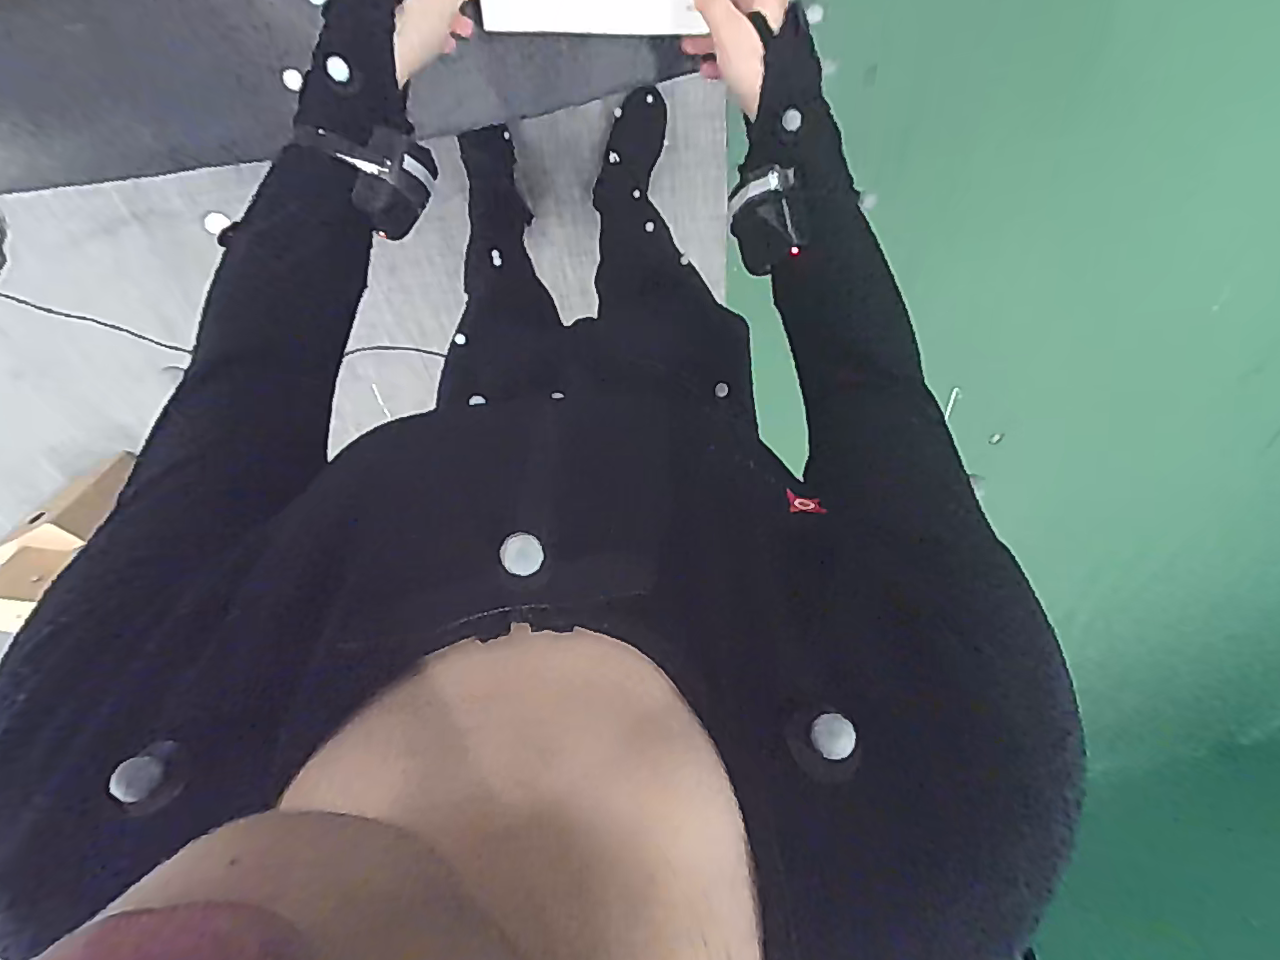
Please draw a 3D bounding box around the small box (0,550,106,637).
[{"bbox_3d":[-1.643,0.313,1.495,0.179,0.176,0.168,9,131,-12],"label":"small box"}]
